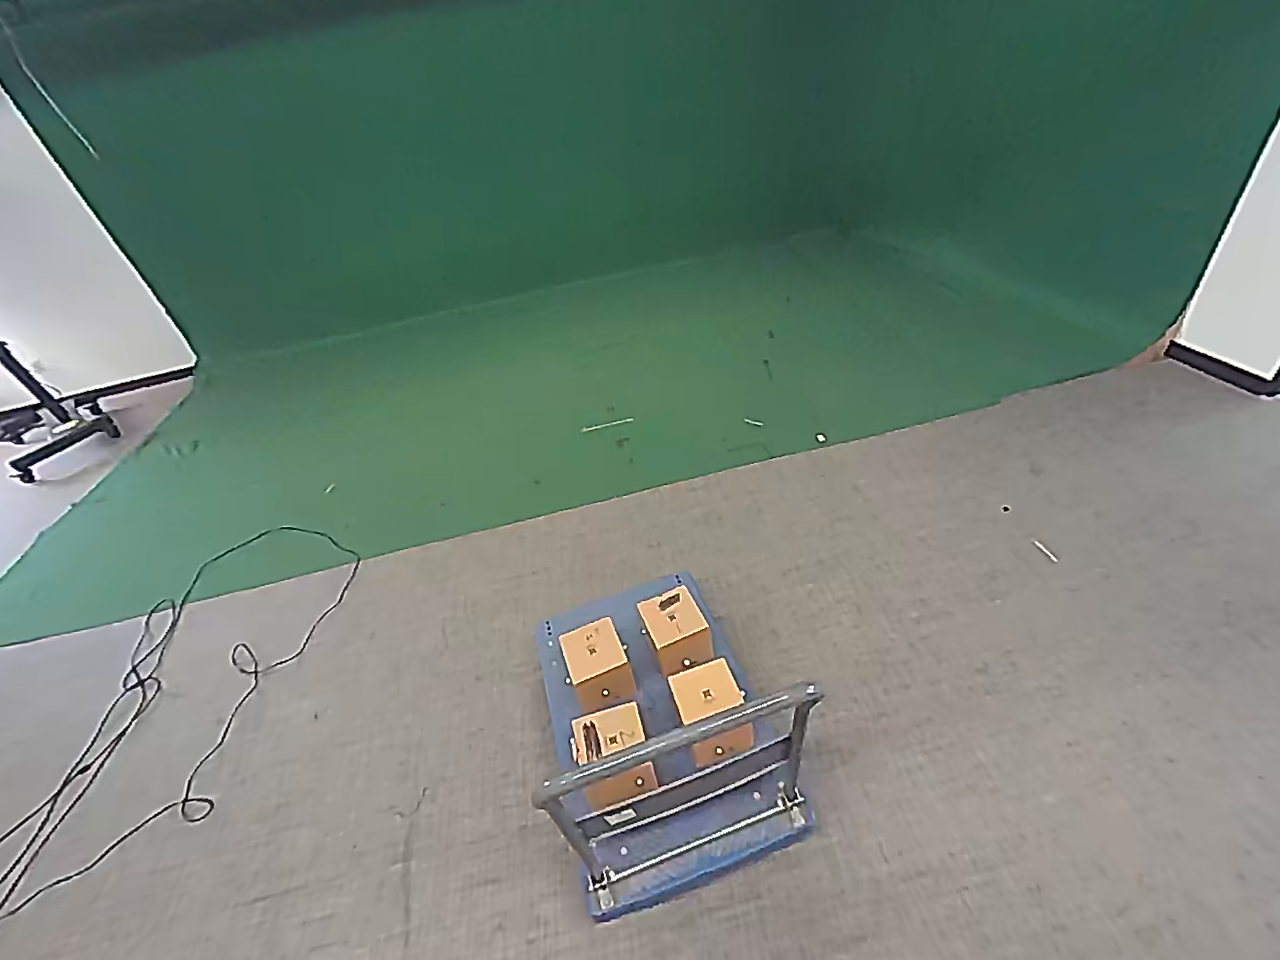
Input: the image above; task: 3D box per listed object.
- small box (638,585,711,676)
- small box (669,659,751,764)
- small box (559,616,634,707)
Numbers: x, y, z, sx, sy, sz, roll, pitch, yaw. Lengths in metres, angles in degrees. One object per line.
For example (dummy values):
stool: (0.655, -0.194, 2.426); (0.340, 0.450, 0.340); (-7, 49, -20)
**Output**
small box: (0.106, 0.461, 1.652); (0.168, 0.176, 0.179); (-20, 41, -10)
small box: (0.185, 0.618, 1.447); (0.168, 0.176, 0.179); (-17, 40, -7)
small box: (-0.126, 0.547, 1.605); (0.168, 0.176, 0.179); (-19, 40, -11)
